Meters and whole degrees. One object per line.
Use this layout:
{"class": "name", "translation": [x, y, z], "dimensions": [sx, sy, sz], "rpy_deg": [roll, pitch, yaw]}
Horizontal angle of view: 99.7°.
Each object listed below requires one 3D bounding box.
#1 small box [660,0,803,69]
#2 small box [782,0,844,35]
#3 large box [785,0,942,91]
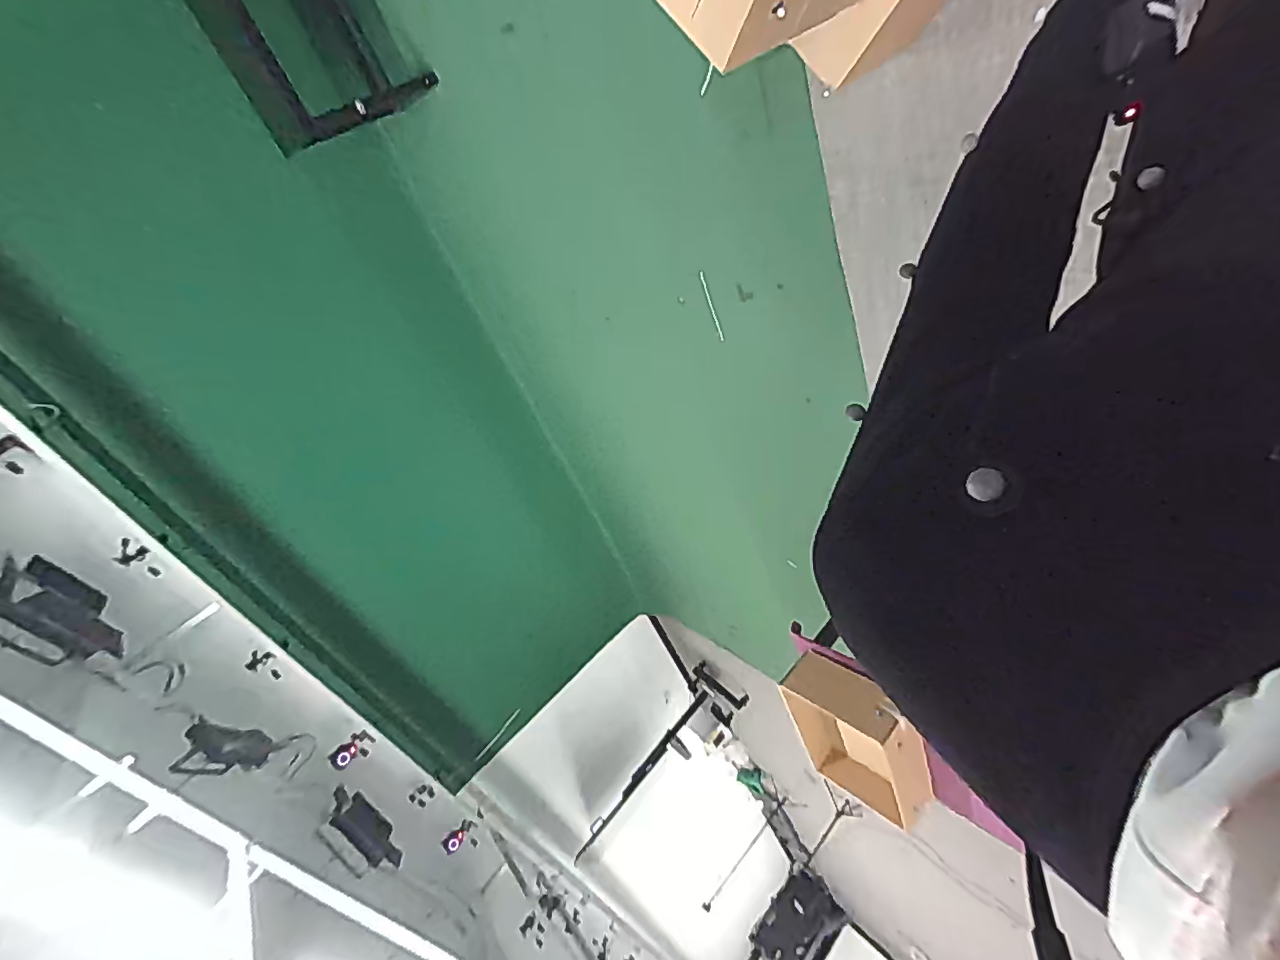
{"class": "small box", "translation": [0.151, -0.757, 0.775], "dimensions": [0.168, 0.176, 0.179], "rpy_deg": [49, 159, 0]}
{"class": "small box", "translation": [0.260, -0.858, 0.842], "dimensions": [0.179, 0.176, 0.168], "rpy_deg": [49, 157, -2]}
{"class": "large box", "translation": [0.496, -1.115, 1.071], "dimensions": [0.320, 0.320, 0.408], "rpy_deg": [51, 157, 0]}
